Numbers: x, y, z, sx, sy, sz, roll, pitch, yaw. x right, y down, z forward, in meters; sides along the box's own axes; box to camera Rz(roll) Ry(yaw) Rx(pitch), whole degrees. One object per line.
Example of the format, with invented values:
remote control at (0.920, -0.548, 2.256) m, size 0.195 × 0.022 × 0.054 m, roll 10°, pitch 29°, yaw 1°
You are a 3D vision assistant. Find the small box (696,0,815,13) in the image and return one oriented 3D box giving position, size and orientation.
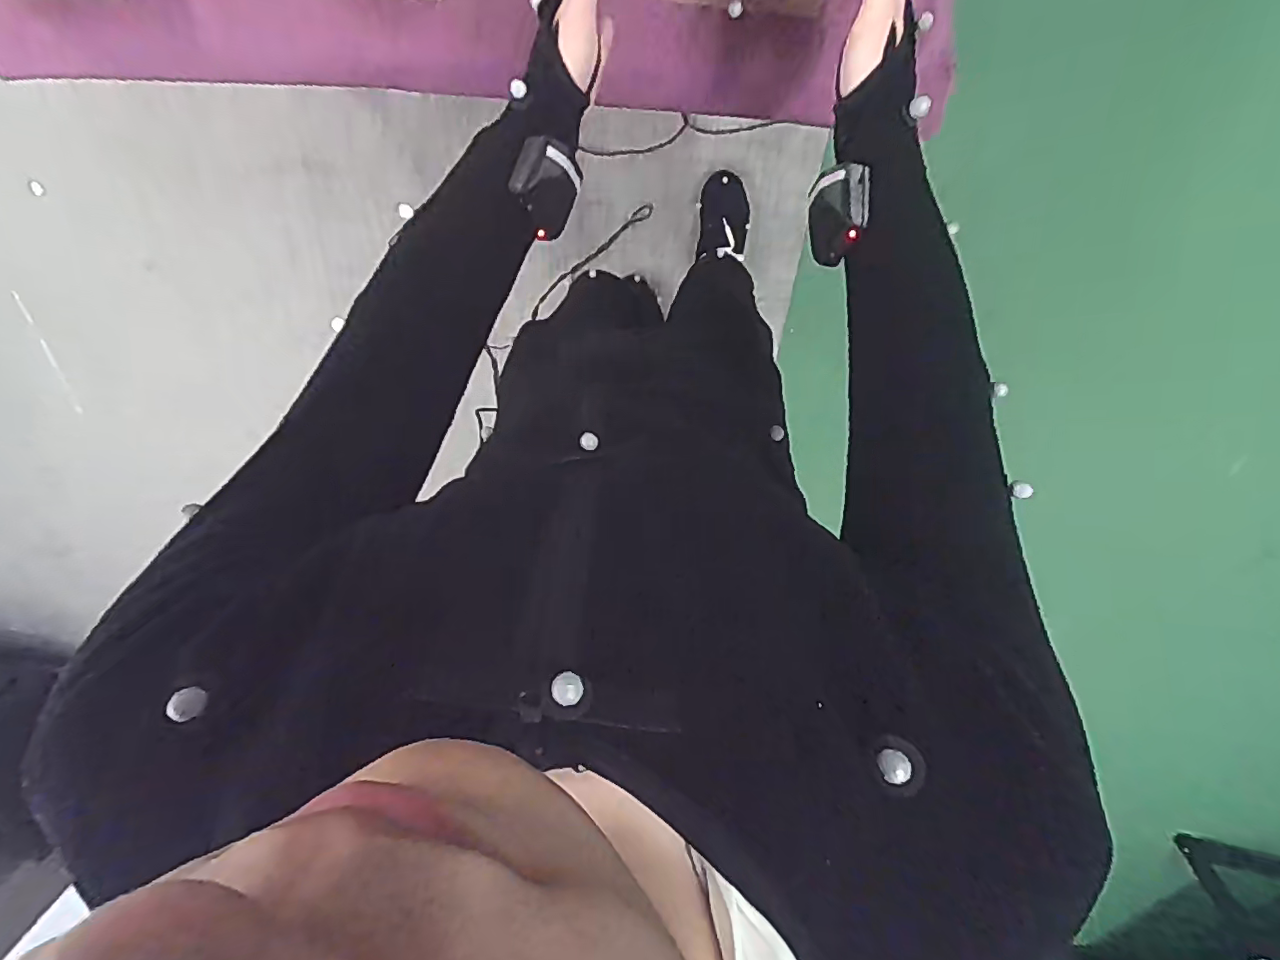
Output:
small box at (0.097, -0.538, 0.461) m, size 0.168 × 0.176 × 0.179 m, roll 12°, pitch 123°, yaw 6°
